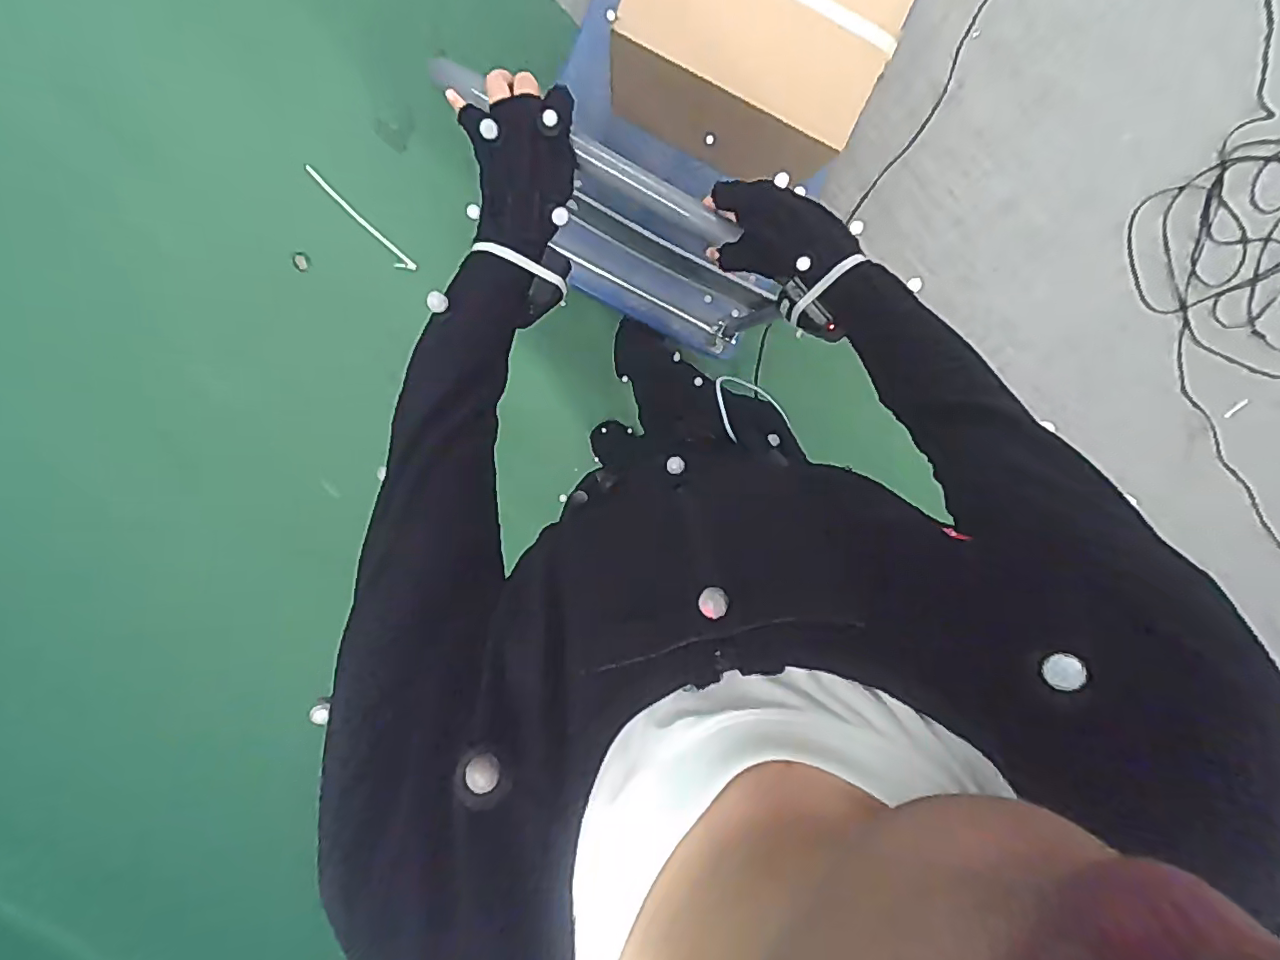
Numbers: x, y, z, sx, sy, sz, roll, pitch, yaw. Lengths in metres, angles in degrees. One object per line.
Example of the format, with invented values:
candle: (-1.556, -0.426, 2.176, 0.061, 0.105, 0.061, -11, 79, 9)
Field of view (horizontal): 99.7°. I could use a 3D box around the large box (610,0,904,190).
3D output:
large box: (0.190, -0.781, 0.952, 0.408, 0.320, 0.320, 22, 101, -7)
